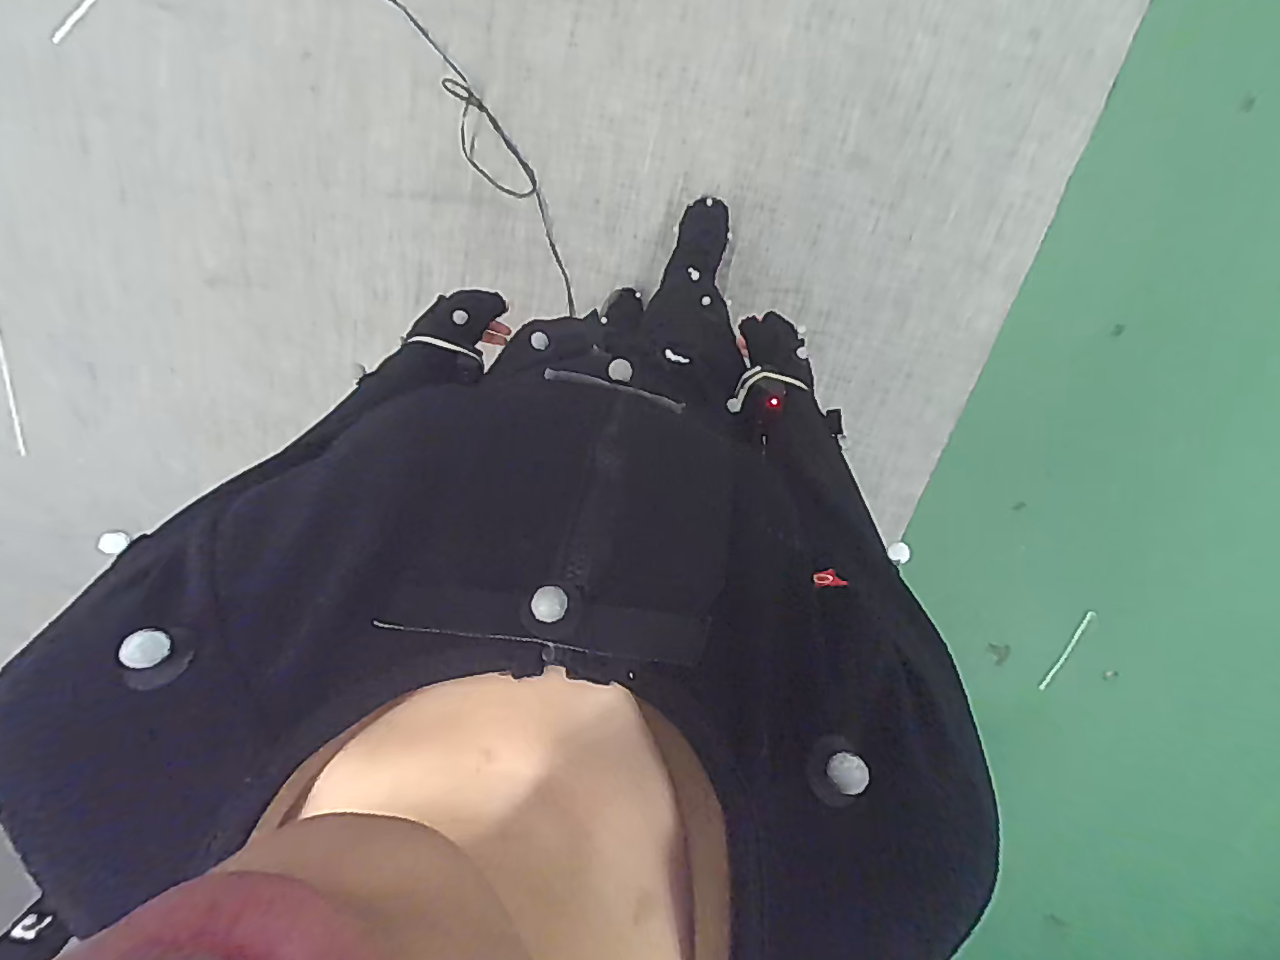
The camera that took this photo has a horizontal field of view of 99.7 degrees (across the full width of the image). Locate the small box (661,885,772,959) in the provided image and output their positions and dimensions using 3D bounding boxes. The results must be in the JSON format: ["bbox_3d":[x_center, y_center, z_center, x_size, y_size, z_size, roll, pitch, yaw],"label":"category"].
[{"bbox_3d":[0.136,0.892,0.992,0.168,0.176,0.179,14,111,-3],"label":"small box"}]
